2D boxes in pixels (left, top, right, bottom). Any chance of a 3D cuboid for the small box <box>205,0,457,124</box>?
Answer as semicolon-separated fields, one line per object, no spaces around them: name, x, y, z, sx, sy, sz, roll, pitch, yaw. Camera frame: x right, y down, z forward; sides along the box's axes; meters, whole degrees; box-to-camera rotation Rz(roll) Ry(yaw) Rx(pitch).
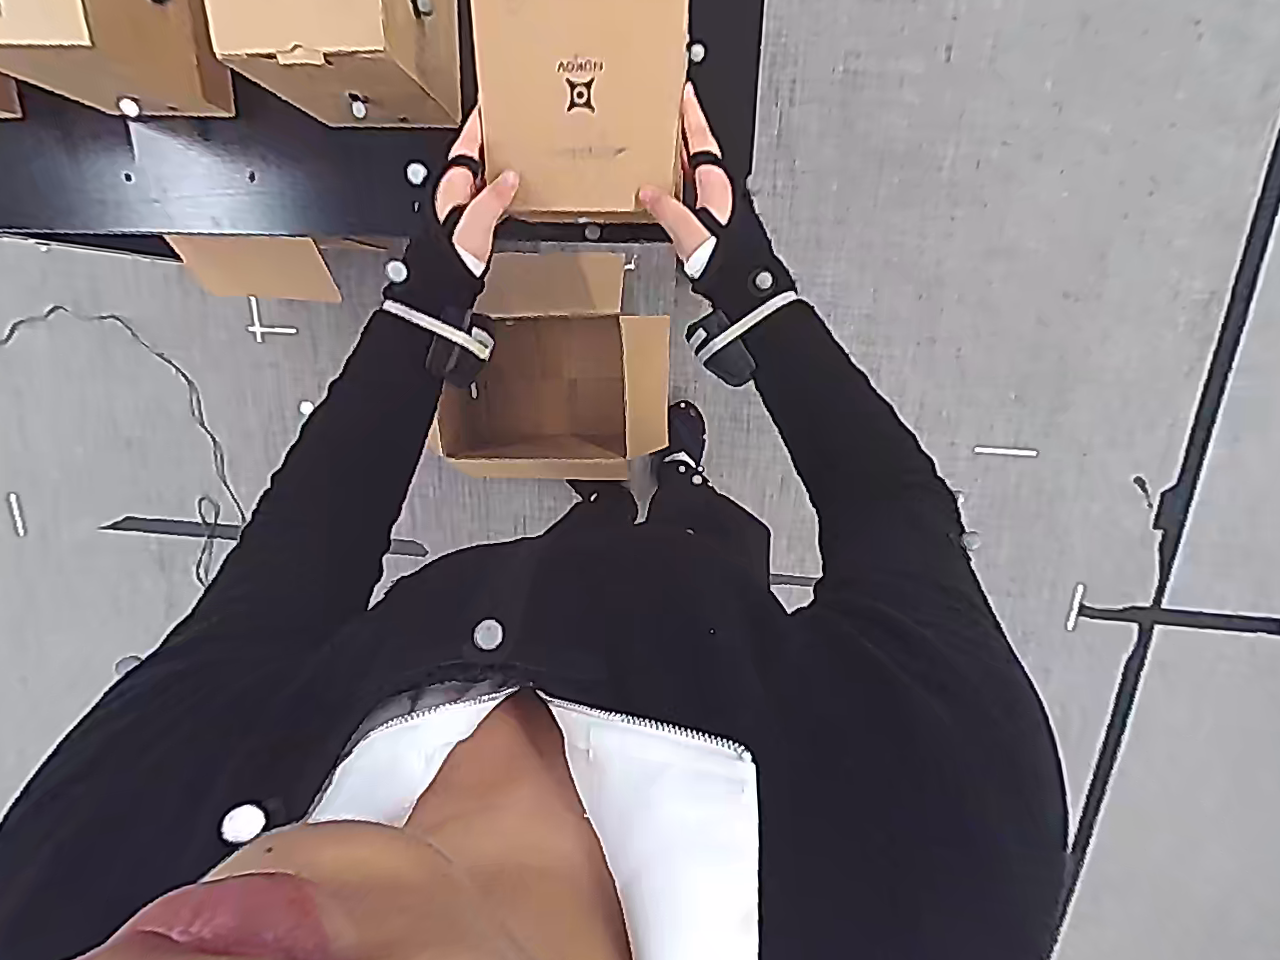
small box;-0.294;-0.480;0.539;0.168;0.176;0.179;3;105;4

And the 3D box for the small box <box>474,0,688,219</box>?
small box;-0.041;-0.345;0.501;0.168;0.176;0.179;2;113;4

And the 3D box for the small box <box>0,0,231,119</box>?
small box;-0.569;-0.505;0.554;0.168;0.176;0.179;4;105;4
